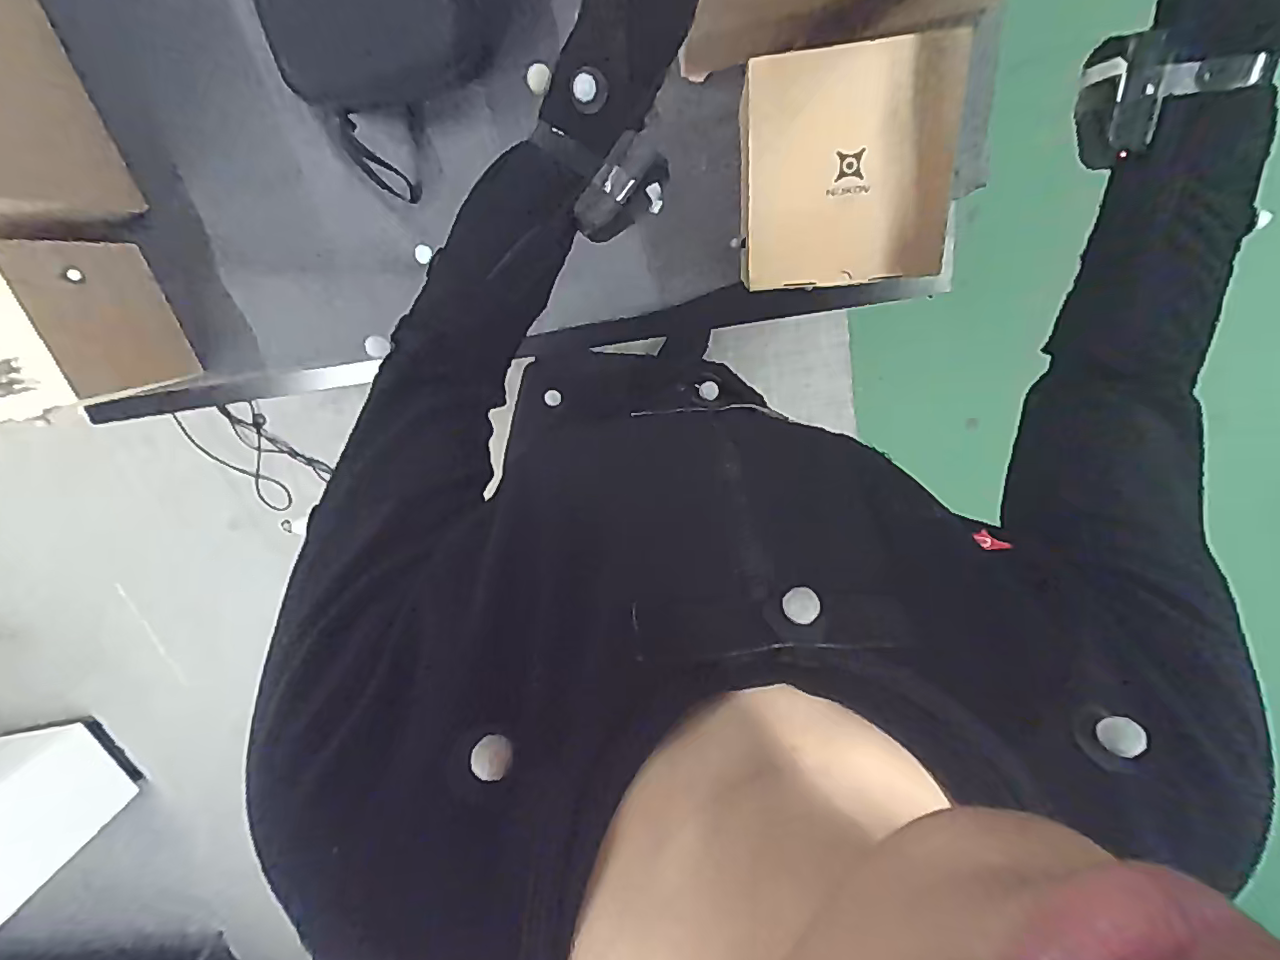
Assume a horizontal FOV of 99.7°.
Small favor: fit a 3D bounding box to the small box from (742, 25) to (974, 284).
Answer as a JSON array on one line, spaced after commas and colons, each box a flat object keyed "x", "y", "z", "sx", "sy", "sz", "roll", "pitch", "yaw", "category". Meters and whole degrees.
[{"x": 0.185, "y": -0.291, "z": 0.518, "sx": 0.168, "sy": 0.176, "sz": 0.179, "roll": -1, "pitch": 115, "yaw": 9, "category": "small box"}]
